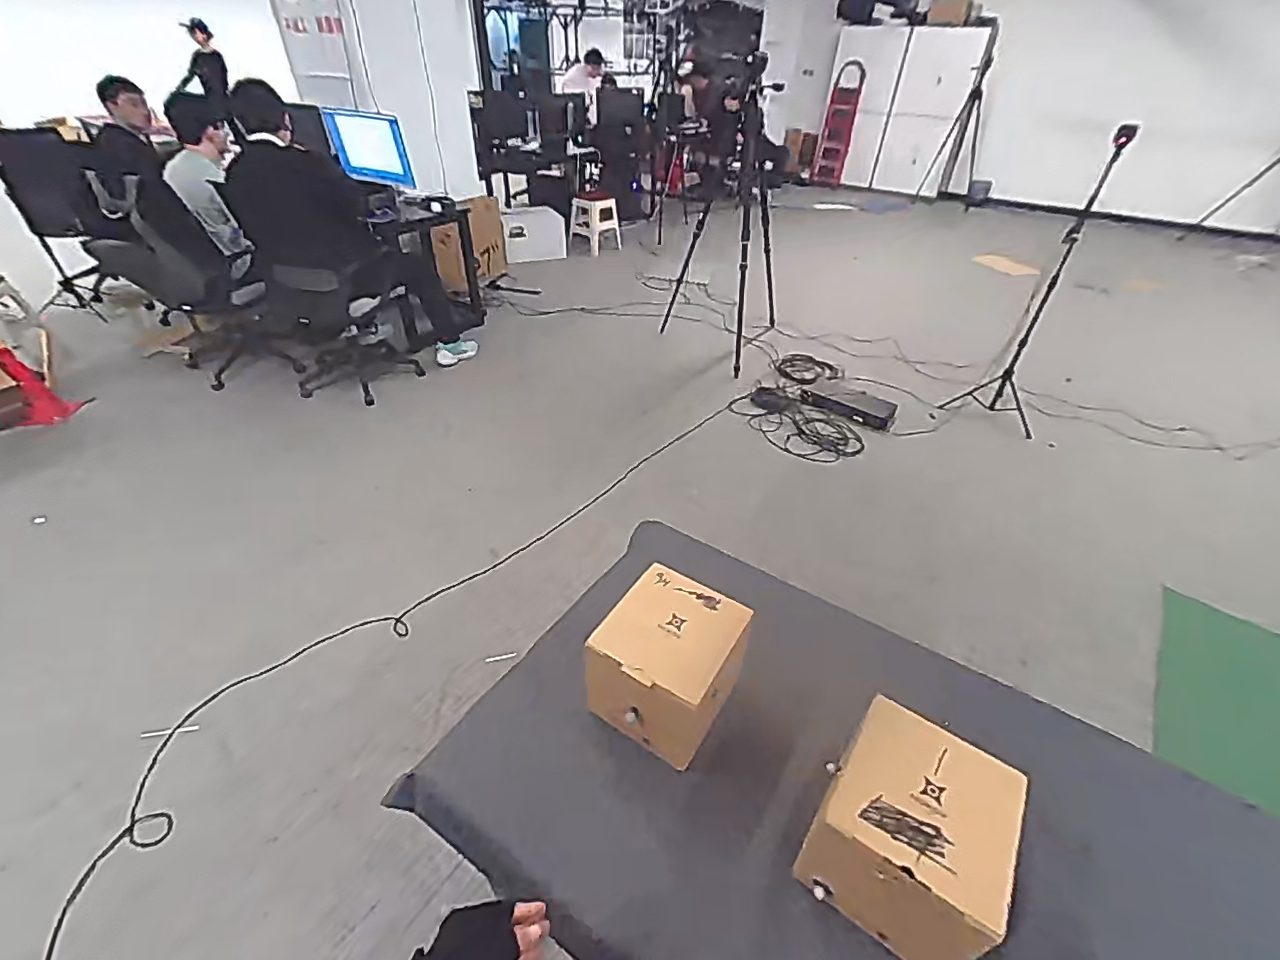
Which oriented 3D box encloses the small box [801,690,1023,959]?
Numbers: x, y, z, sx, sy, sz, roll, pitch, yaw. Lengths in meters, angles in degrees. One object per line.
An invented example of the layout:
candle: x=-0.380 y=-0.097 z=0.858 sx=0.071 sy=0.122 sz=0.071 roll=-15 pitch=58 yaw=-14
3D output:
small box: x=0.299 y=0.391 z=0.618 sx=0.168 sy=0.176 sz=0.179 roll=26 pitch=43 yaw=27

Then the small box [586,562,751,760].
small box: x=0.042 y=0.259 z=0.780 sx=0.168 sy=0.176 sz=0.179 roll=23 pitch=44 yaw=25
